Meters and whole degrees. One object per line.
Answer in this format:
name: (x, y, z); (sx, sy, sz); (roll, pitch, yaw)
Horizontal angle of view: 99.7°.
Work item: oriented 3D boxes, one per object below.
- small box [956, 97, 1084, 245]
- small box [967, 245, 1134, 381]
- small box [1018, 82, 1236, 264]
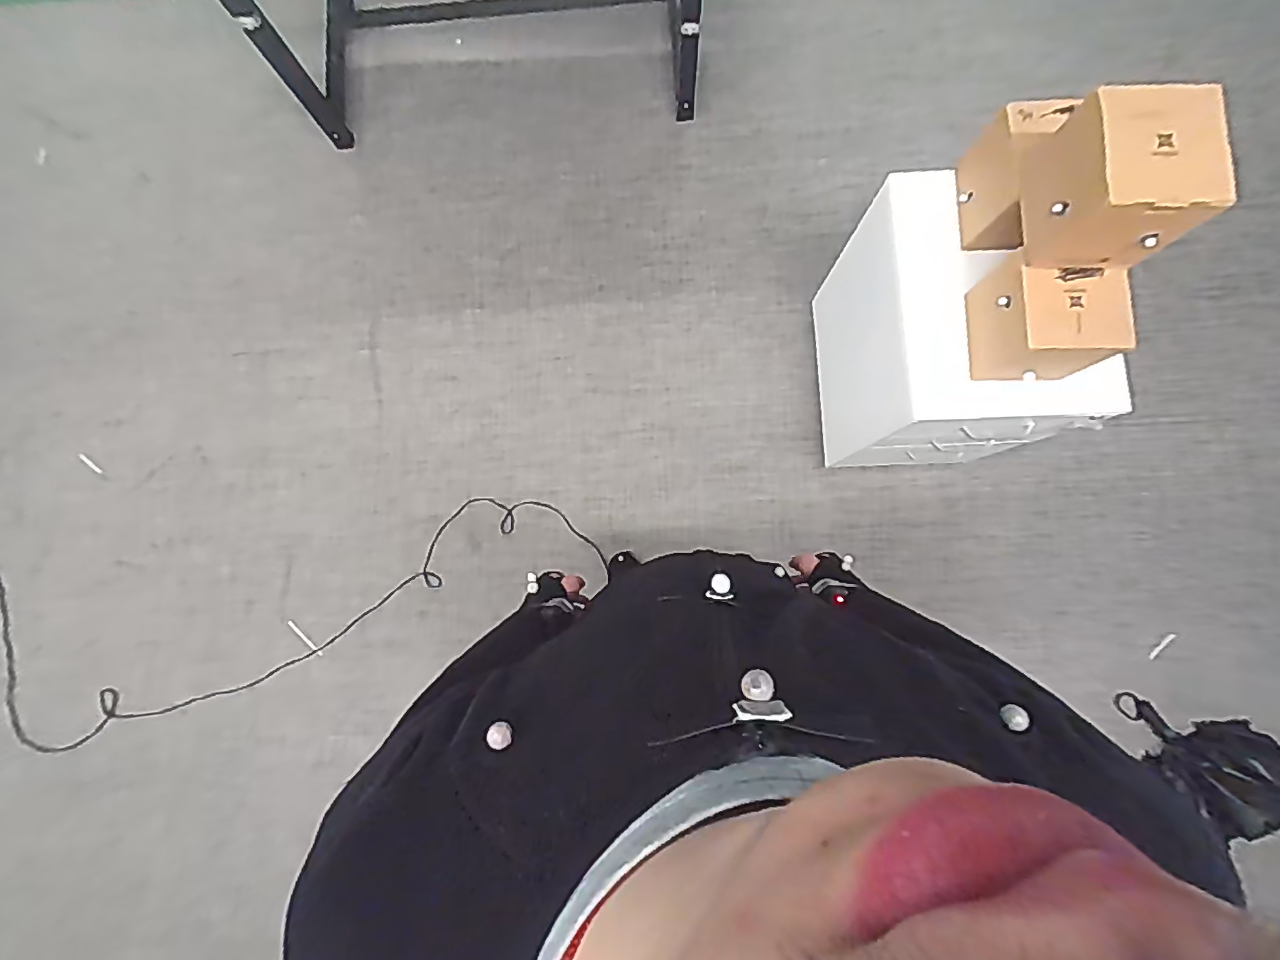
small box: (0.697, -0.540, 0.970); (0.168, 0.176, 0.179); (-2, 85, 2)
small box: (0.694, -0.282, 0.936); (0.168, 0.176, 0.179); (0, 83, 3)
small box: (0.695, -0.435, 0.793); (0.168, 0.176, 0.179); (0, 82, 1)
